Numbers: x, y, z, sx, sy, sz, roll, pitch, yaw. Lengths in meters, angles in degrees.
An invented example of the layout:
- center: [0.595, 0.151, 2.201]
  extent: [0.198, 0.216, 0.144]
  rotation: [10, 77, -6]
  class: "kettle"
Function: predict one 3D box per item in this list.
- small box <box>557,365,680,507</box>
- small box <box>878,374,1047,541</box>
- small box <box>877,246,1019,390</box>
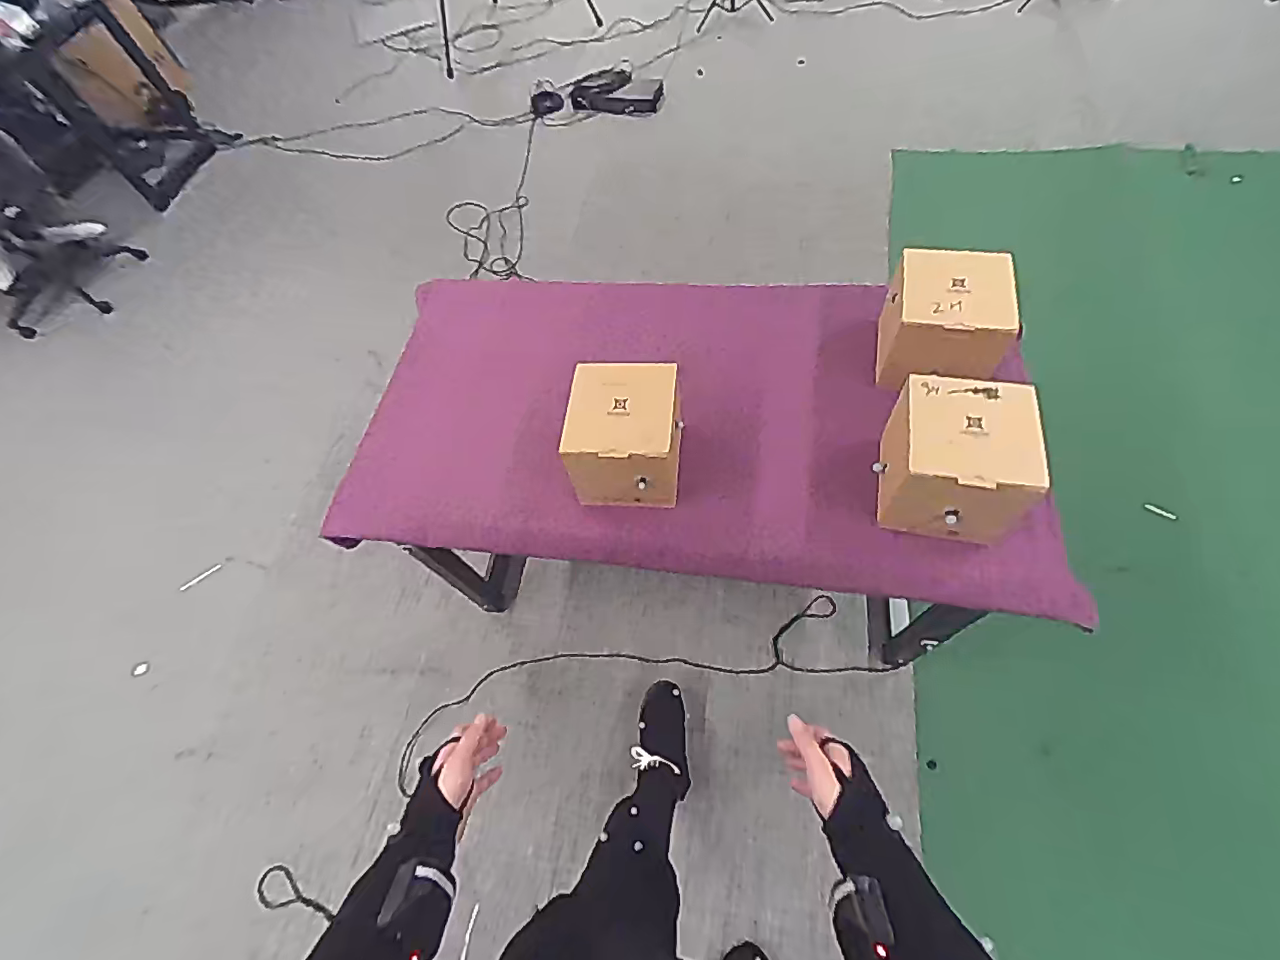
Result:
- center: [-0.023, -0.068, 0.885]
  extent: [0.168, 0.176, 0.179]
  rotation: [2, 60, 8]
  class: "small box"
- center: [0.456, -0.028, 0.791]
  extent: [0.168, 0.176, 0.179]
  rotation: [9, 62, 13]
  class: "small box"
- center: [0.510, -0.267, 0.919]
  extent: [0.168, 0.176, 0.179]
  rotation: [8, 63, 14]
  class: "small box"
